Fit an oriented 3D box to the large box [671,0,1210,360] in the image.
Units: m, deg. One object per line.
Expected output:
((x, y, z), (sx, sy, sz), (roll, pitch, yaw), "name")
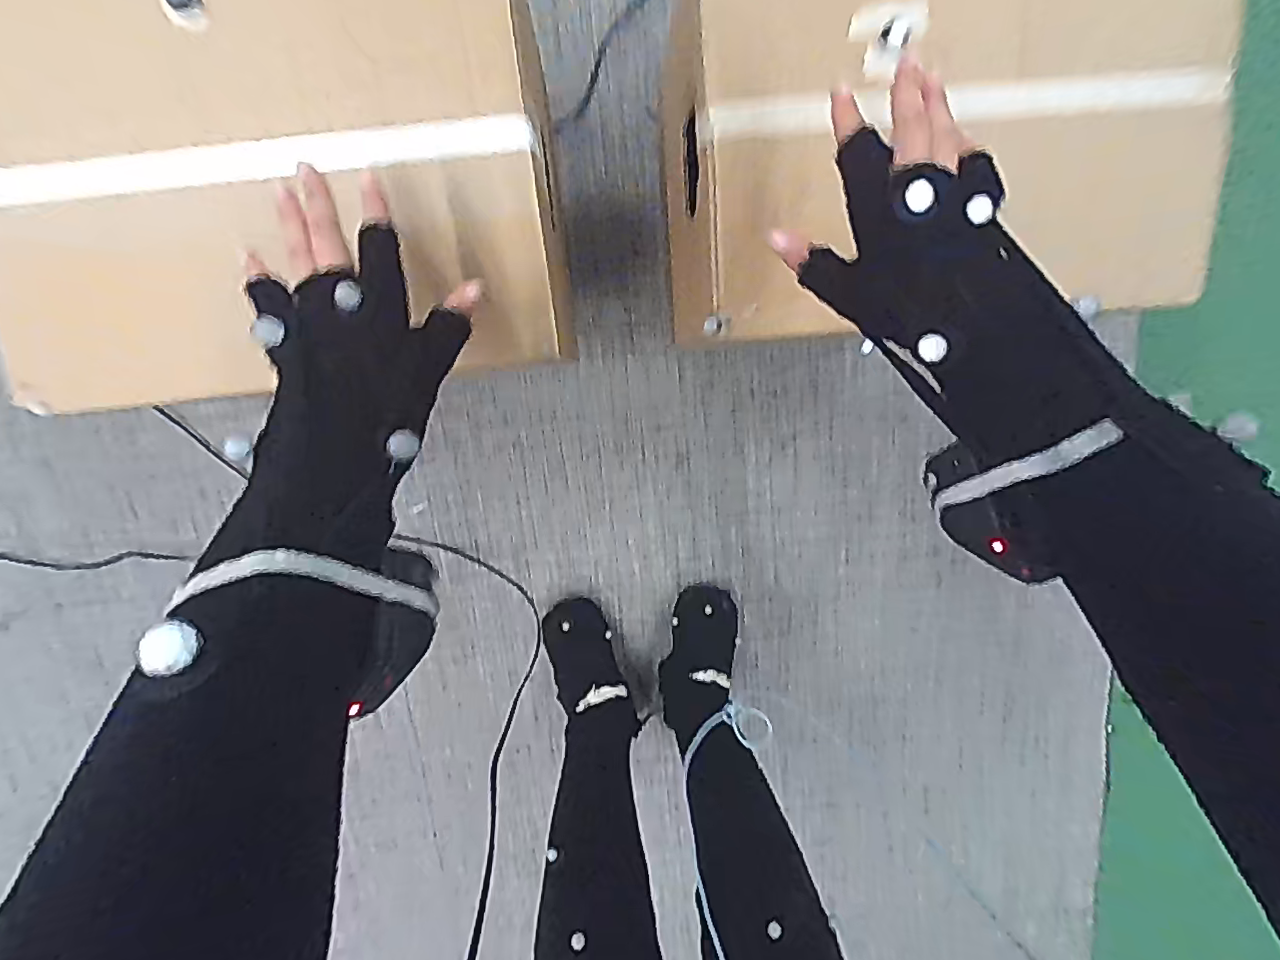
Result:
((0.253, -0.302, 0.588), (0.408, 0.320, 0.320), (-4, 101, -2), "large box")
